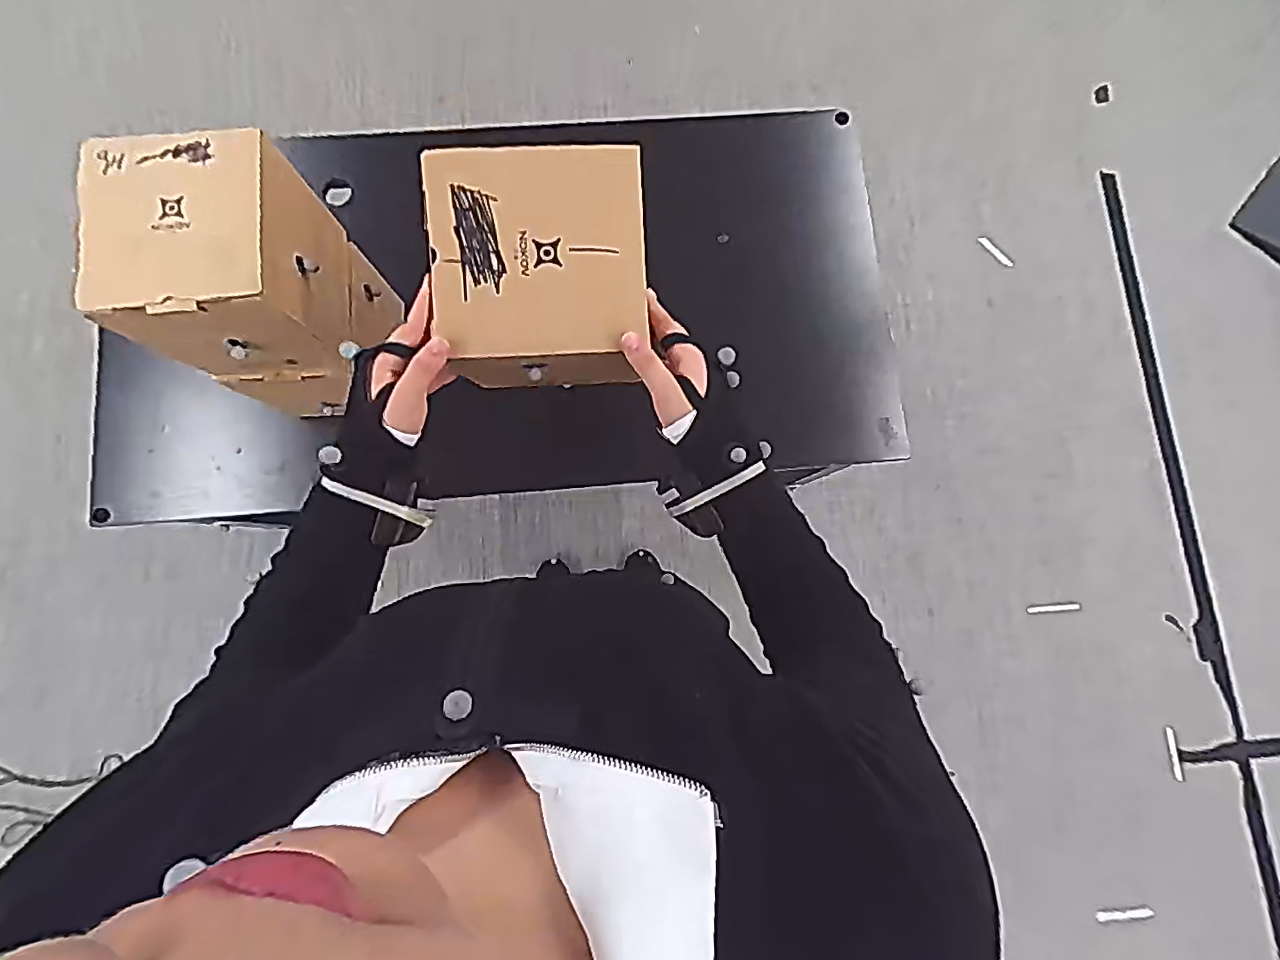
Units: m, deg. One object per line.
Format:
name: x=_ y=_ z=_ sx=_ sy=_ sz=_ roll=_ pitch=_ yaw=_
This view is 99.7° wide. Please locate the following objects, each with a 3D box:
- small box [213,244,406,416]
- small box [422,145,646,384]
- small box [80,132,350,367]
small box: x=-0.437 y=-0.196 z=0.743 sx=0.168 sy=0.176 sz=0.179 roll=-3 pitch=82 yaw=-2
small box: x=-0.087 y=-0.186 z=0.513 sx=0.179 sy=0.176 sz=0.168 roll=-3 pitch=92 yaw=-3
small box: x=-0.435 y=-0.229 z=0.582 sx=0.168 sy=0.176 sz=0.179 roll=-6 pitch=82 yaw=-3
